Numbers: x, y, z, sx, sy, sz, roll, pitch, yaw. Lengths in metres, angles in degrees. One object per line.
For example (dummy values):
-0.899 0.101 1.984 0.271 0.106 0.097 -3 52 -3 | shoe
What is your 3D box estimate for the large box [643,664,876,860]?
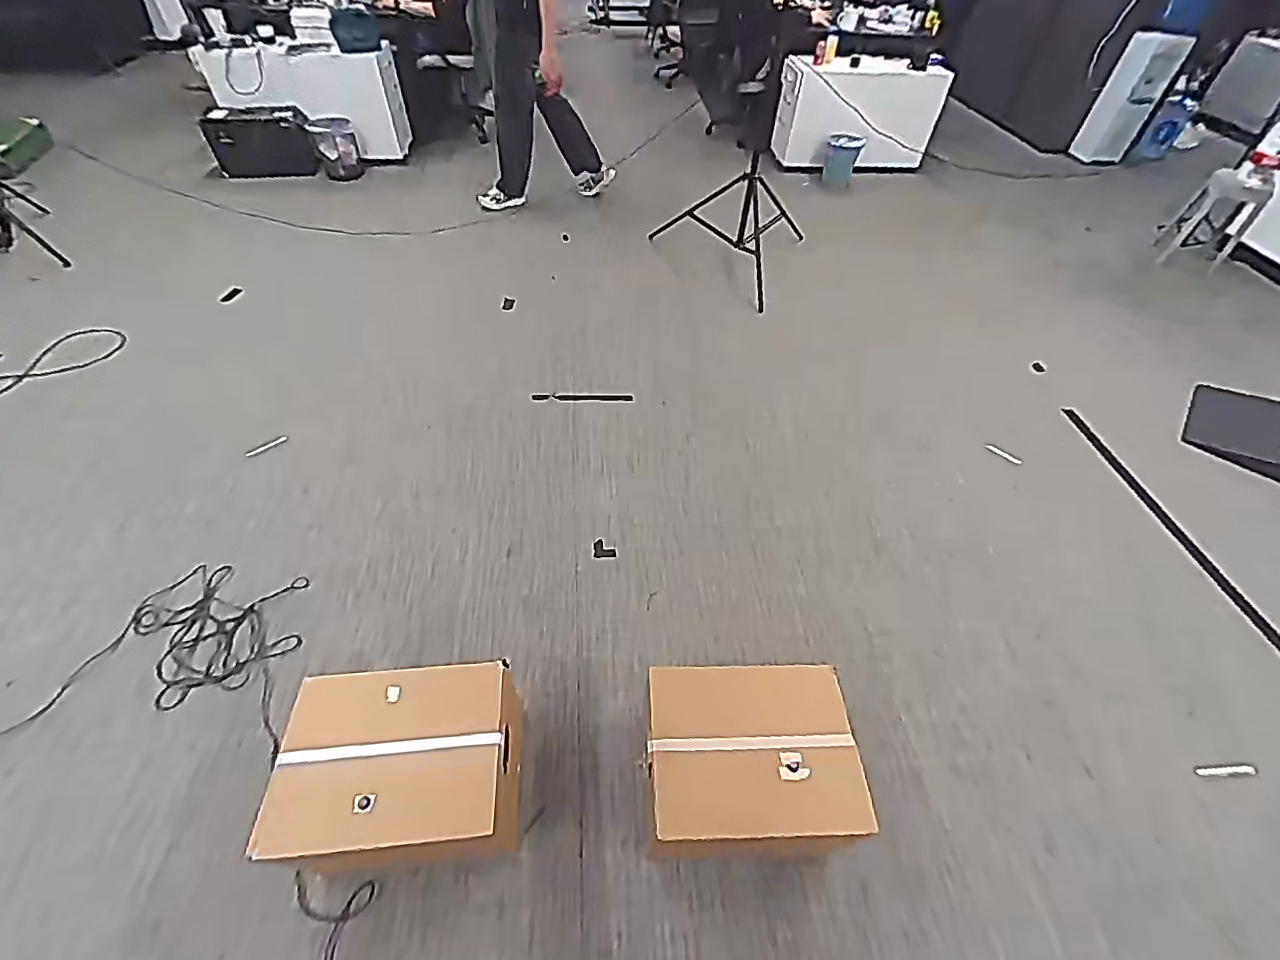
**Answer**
0.220 0.616 1.181 0.408 0.320 0.320 1 49 -4 | large box
